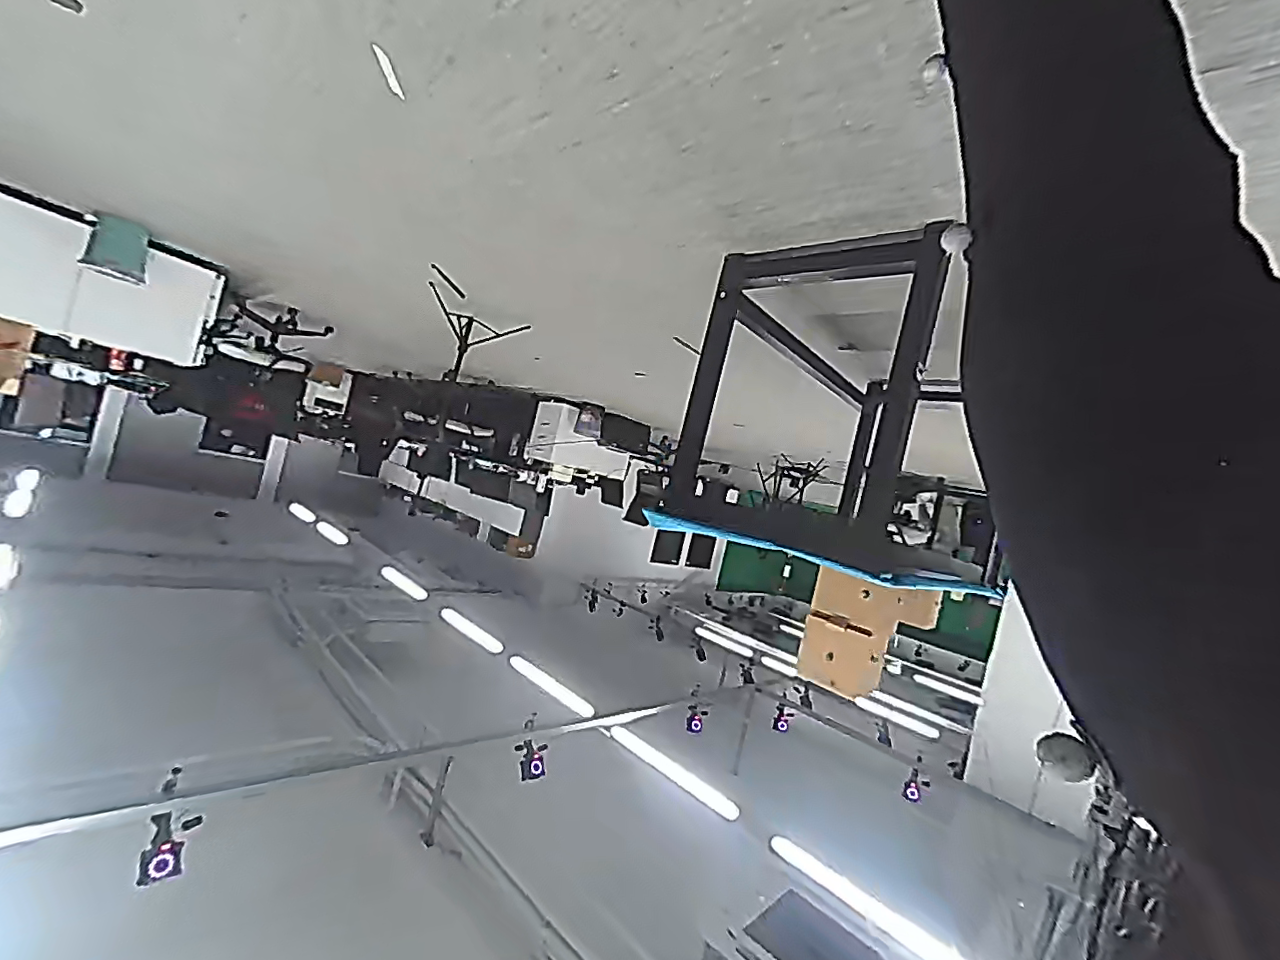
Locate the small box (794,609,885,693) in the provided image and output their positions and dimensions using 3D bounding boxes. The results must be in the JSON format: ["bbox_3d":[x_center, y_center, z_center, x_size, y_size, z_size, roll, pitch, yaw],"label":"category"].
[{"bbox_3d":[0.529,0.449,1.441,0.168,0.176,0.179,15,-178,41],"label":"small box"}]

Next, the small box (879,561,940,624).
[{"bbox_3d":[0.874,0.374,1.798,0.179,0.176,0.168,12,177,38],"label":"small box"}]

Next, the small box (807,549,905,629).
[{"bbox_3d":[0.576,0.292,1.444,0.179,0.176,0.168,13,179,43],"label":"small box"}]
